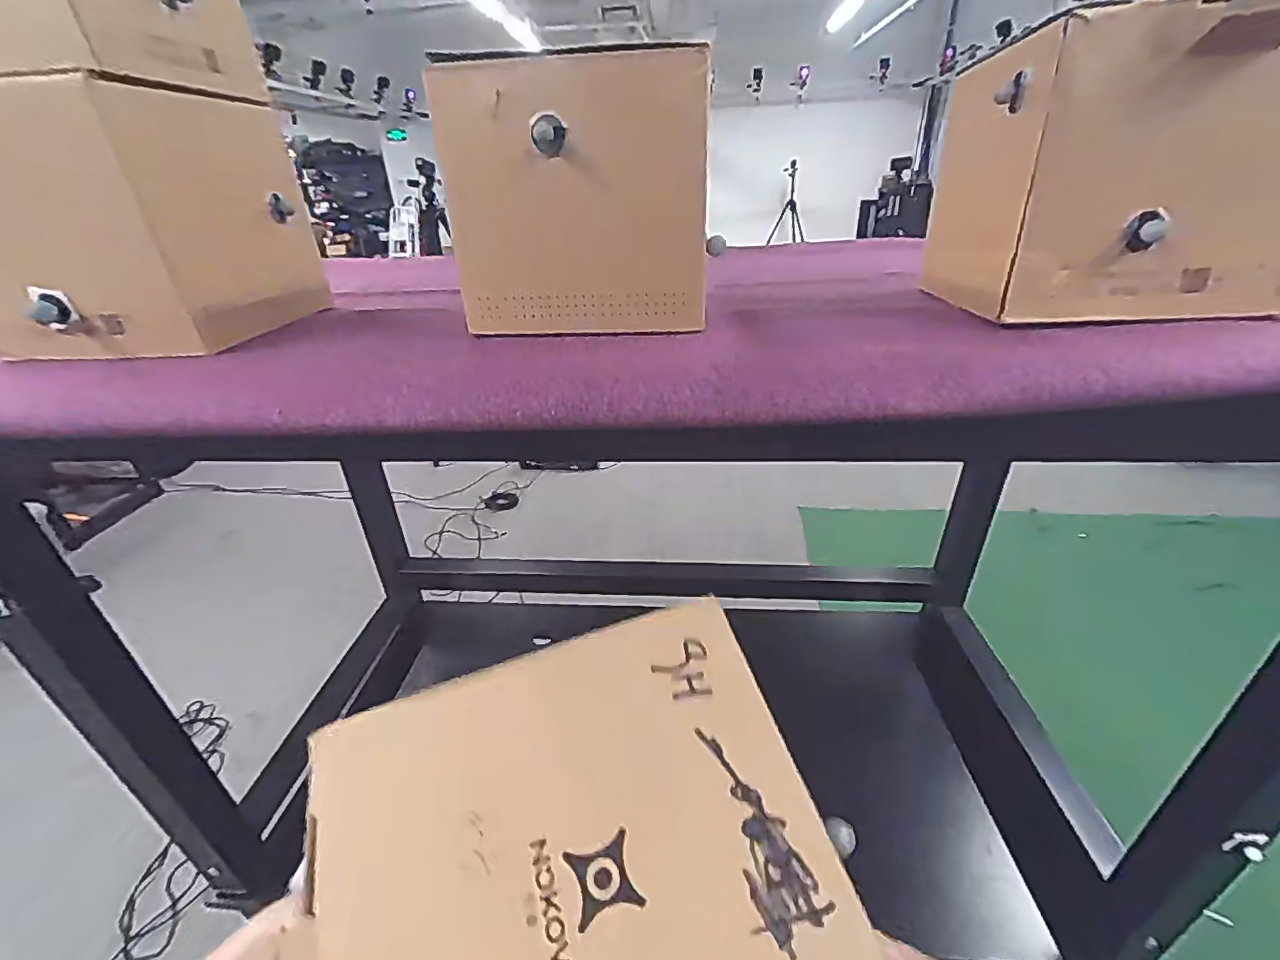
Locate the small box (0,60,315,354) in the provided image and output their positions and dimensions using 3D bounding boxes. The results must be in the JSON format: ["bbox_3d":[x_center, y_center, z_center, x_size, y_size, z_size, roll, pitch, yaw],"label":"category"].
[{"bbox_3d":[-0.389,-0.204,0.420,0.168,0.176,0.179,-3,30,3],"label":"small box"}]

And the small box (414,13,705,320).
[{"bbox_3d":[-0.039,-0.224,0.419,0.179,0.176,0.168,1,28,6],"label":"small box"}]

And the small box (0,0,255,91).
[{"bbox_3d":[-0.403,-0.348,0.341,0.179,0.176,0.168,-3,30,2],"label":"small box"}]

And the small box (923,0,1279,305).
[{"bbox_3d":[0.319,-0.222,0.378,0.168,0.176,0.179,0,27,9],"label":"small box"}]
